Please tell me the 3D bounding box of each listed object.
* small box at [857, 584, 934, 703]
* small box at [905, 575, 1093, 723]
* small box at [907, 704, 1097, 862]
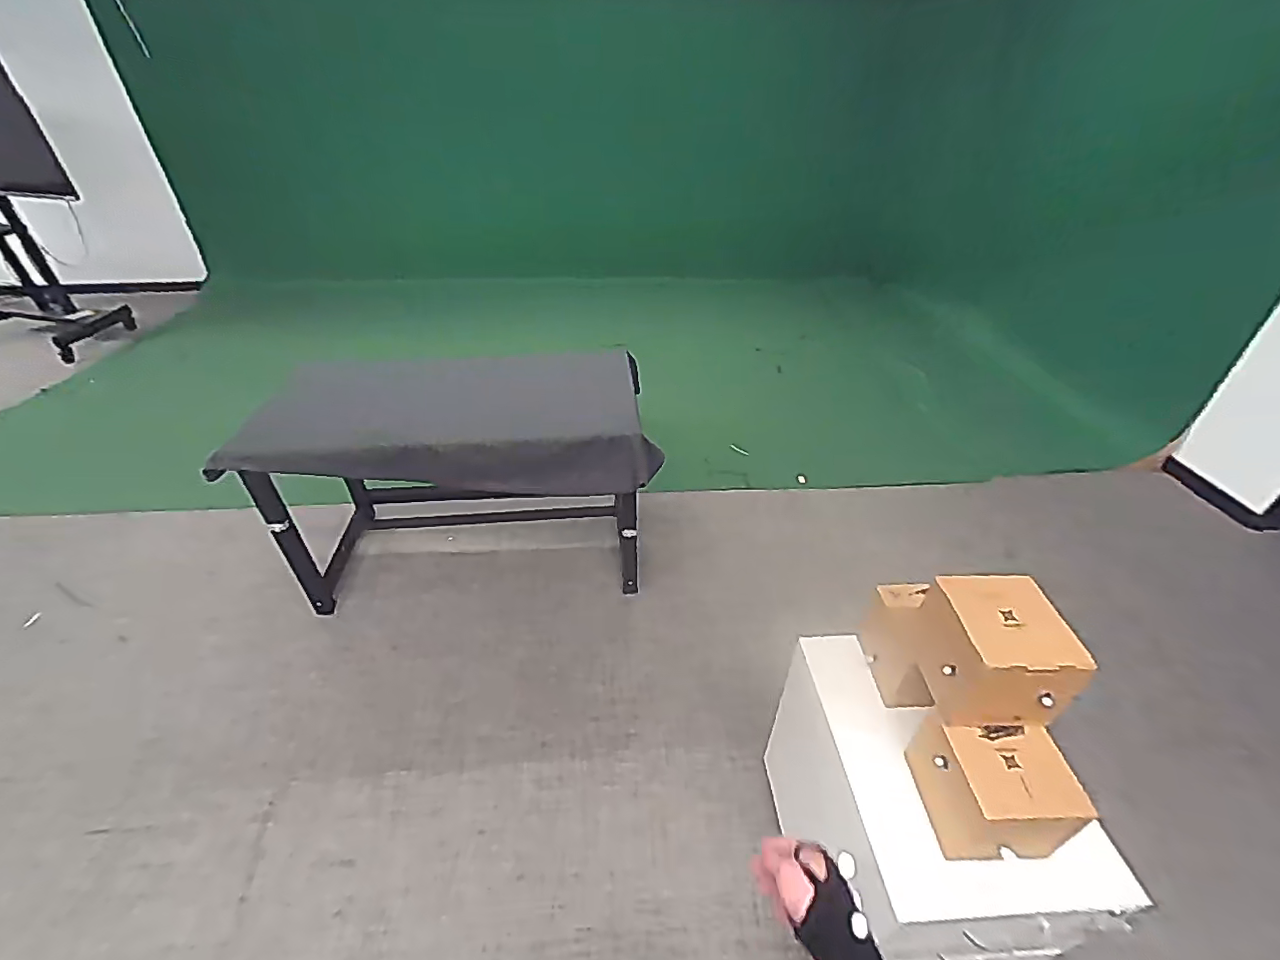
[{"bbox_3d":[0.559,0.329,1.081,0.168,0.176,0.179,-2,40,-3],"label":"small box"},{"bbox_3d":[0.566,0.277,0.883,0.168,0.176,0.179,0,37,-2],"label":"small box"},{"bbox_3d":[0.563,0.487,0.875,0.168,0.176,0.179,-1,38,0],"label":"small box"}]
